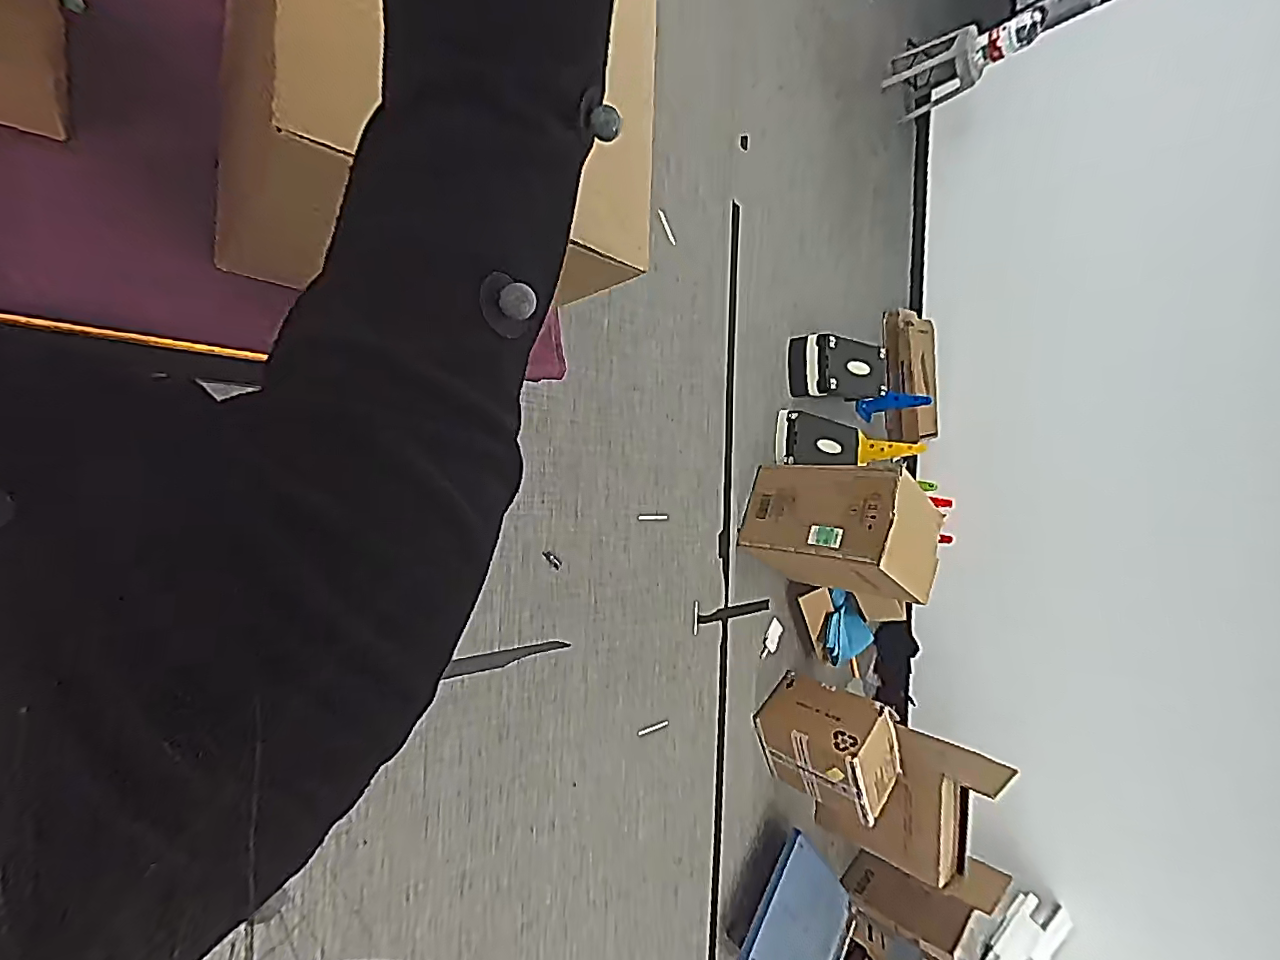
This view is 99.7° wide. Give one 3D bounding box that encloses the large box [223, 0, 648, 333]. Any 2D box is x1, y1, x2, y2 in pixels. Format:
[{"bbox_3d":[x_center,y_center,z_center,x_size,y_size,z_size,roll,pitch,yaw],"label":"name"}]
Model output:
[{"bbox_3d":[-0.206,-0.396,0.537,0.320,0.320,0.408,2,89,-44],"label":"large box"}]
